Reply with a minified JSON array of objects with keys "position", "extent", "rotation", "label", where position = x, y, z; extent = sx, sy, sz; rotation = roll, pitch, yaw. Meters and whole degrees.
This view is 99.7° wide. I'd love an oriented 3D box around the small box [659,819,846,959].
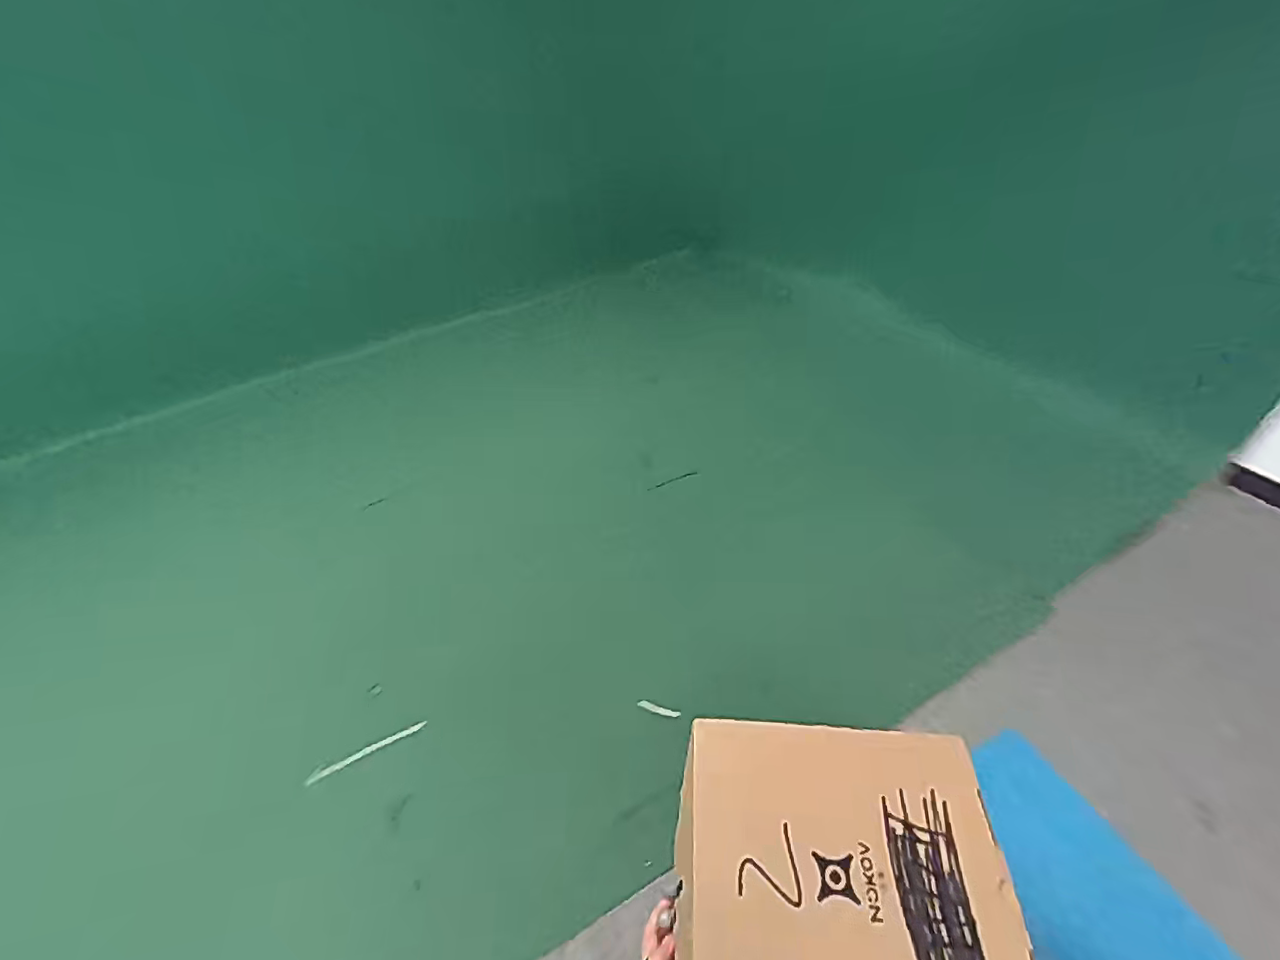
[{"position":[0.113,0.492,0.588],"extent":[0.179,0.176,0.168],"rotation":[4,46,5],"label":"small box"}]
